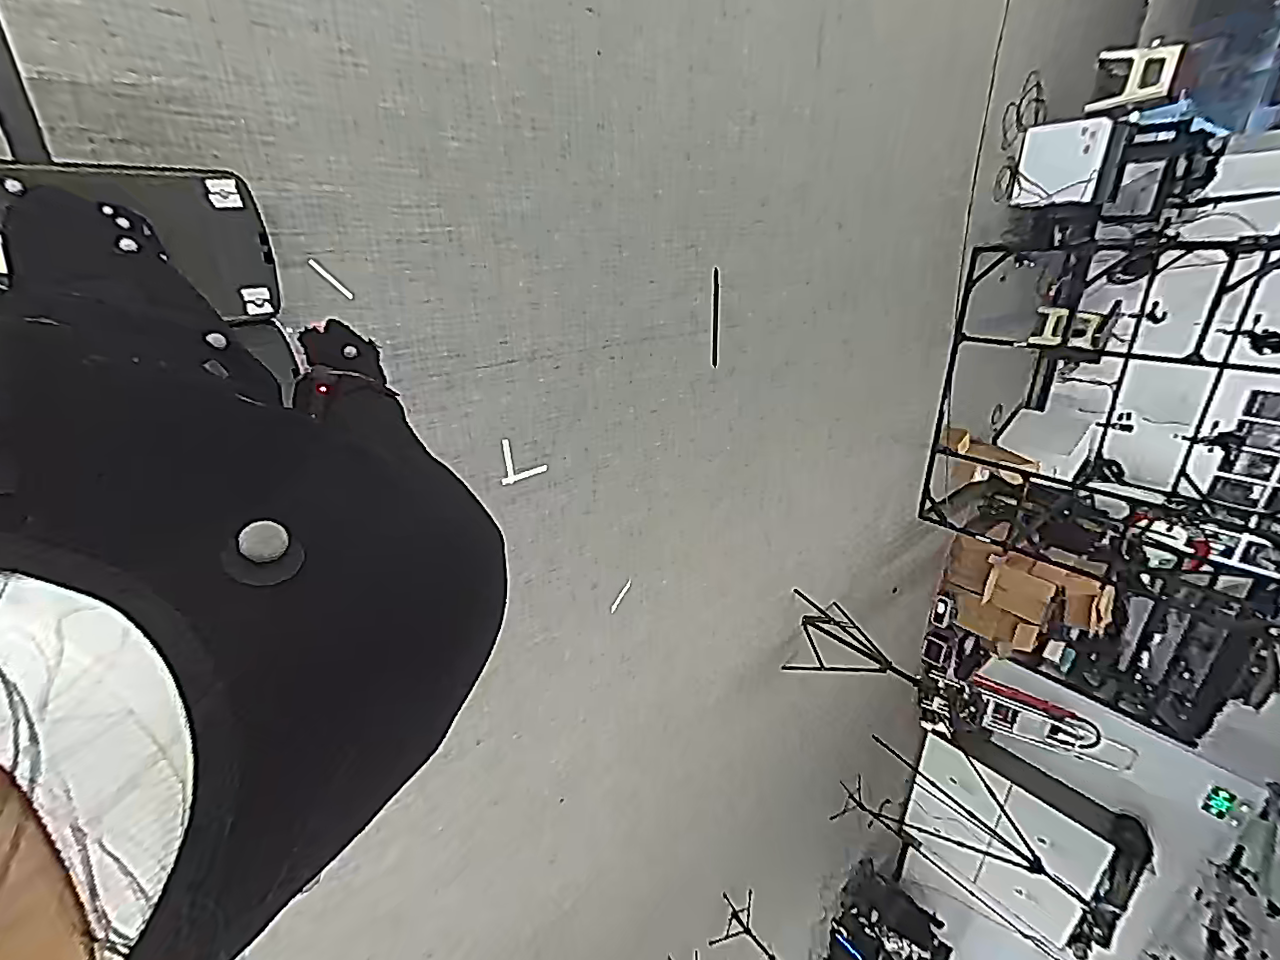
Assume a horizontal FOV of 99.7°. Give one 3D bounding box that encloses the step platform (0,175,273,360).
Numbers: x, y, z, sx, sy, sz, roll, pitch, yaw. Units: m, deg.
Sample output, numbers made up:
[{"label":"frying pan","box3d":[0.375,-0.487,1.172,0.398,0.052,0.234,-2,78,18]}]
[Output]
[{"label":"step platform","box3d":[-1.072,-0.380,0.966,0.684,0.204,0.286,-21,121,-36]}]
